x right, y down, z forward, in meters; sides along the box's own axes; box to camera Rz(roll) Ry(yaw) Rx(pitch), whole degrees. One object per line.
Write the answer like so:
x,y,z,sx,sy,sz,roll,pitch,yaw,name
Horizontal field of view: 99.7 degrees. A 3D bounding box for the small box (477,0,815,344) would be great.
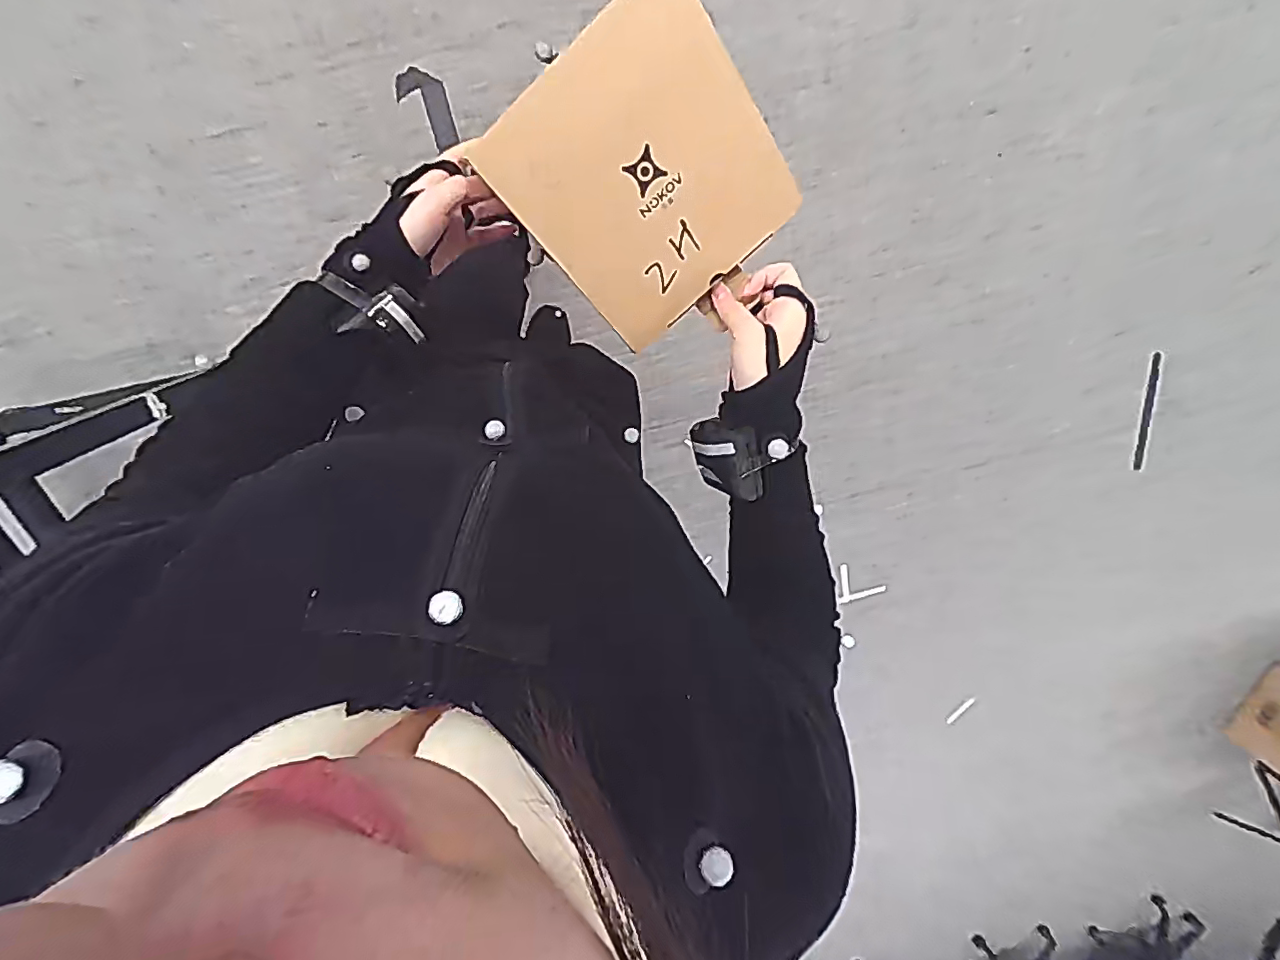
-0.006,-0.242,0.420,0.168,0.176,0.179,-40,123,10,small box
